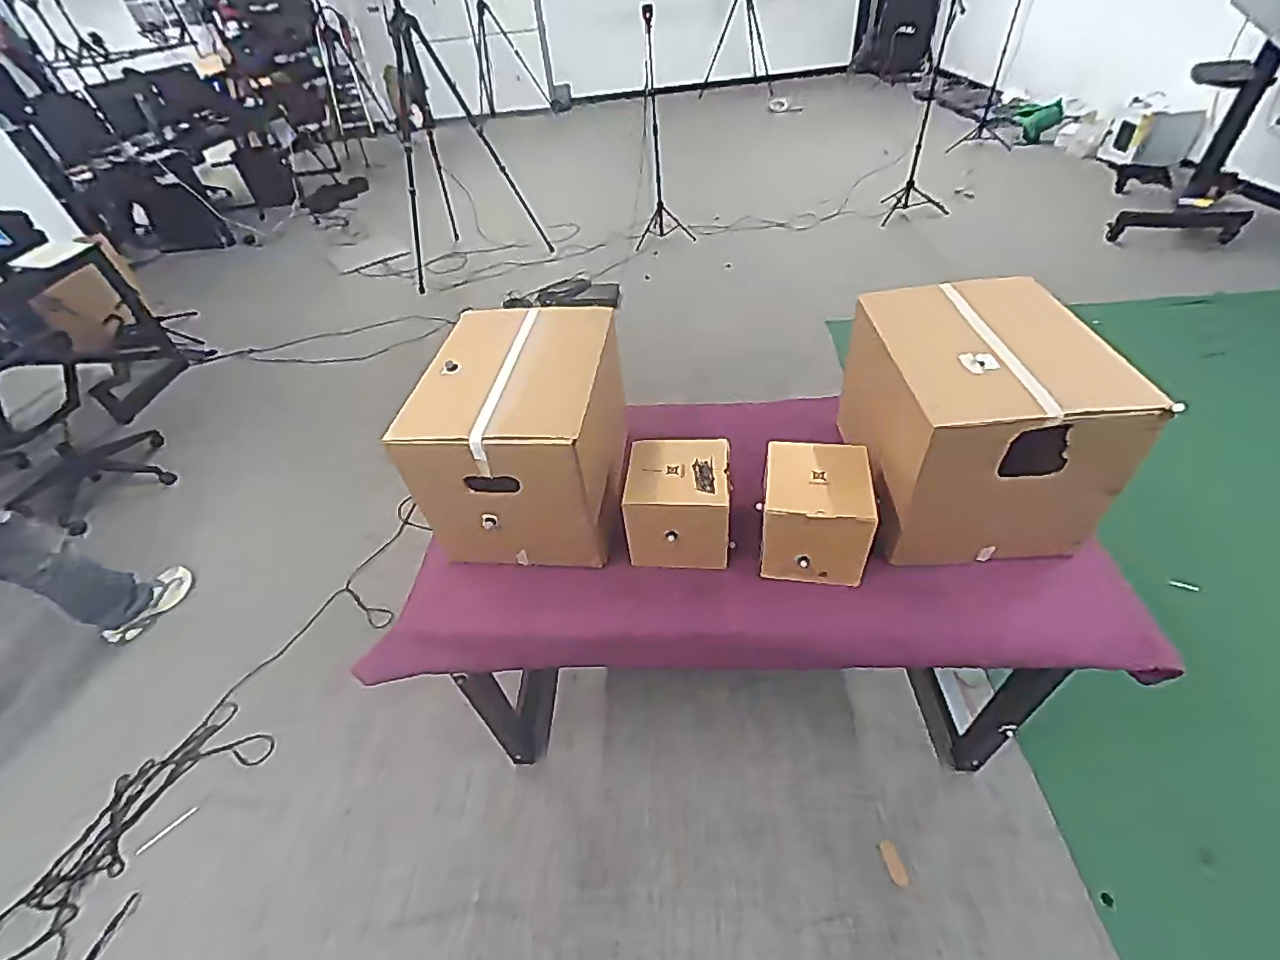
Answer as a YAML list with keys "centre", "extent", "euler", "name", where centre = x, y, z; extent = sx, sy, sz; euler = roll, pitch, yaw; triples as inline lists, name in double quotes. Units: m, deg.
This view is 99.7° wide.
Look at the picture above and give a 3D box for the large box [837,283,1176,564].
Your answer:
- centre: [0.574, -0.106, 0.966]
  extent: [0.320, 0.320, 0.408]
  euler: [-5, 44, 6]
  name: "large box"
